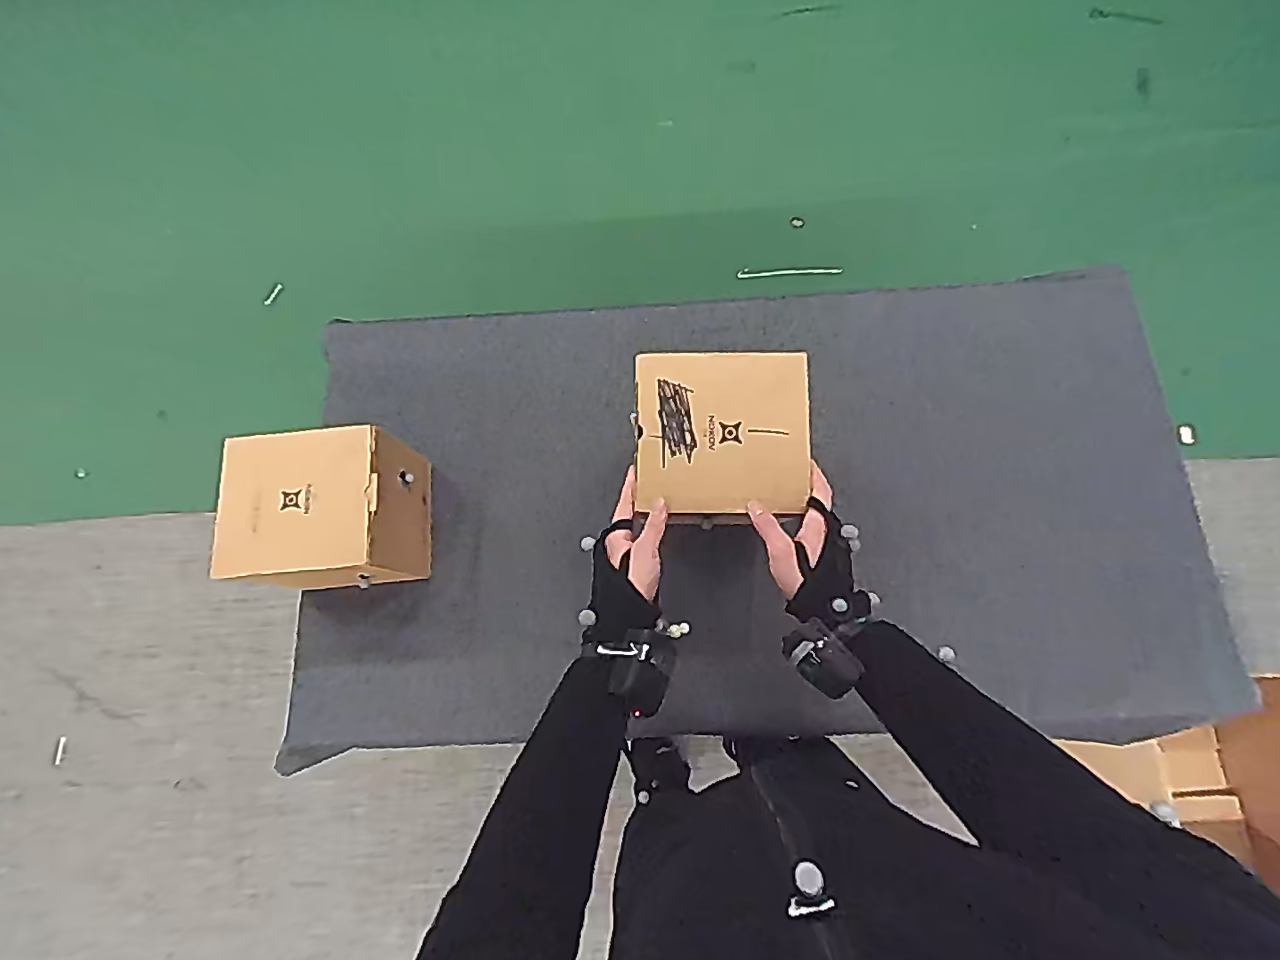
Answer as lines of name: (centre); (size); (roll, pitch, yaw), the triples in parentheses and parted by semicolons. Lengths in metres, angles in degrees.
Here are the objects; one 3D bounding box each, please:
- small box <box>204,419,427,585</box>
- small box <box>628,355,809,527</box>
small box: (-0.380, 0.036, 0.669); (0.179, 0.176, 0.168); (-6, 74, 2)
small box: (0.085, -0.034, 0.624); (0.179, 0.176, 0.168); (4, 84, 4)
